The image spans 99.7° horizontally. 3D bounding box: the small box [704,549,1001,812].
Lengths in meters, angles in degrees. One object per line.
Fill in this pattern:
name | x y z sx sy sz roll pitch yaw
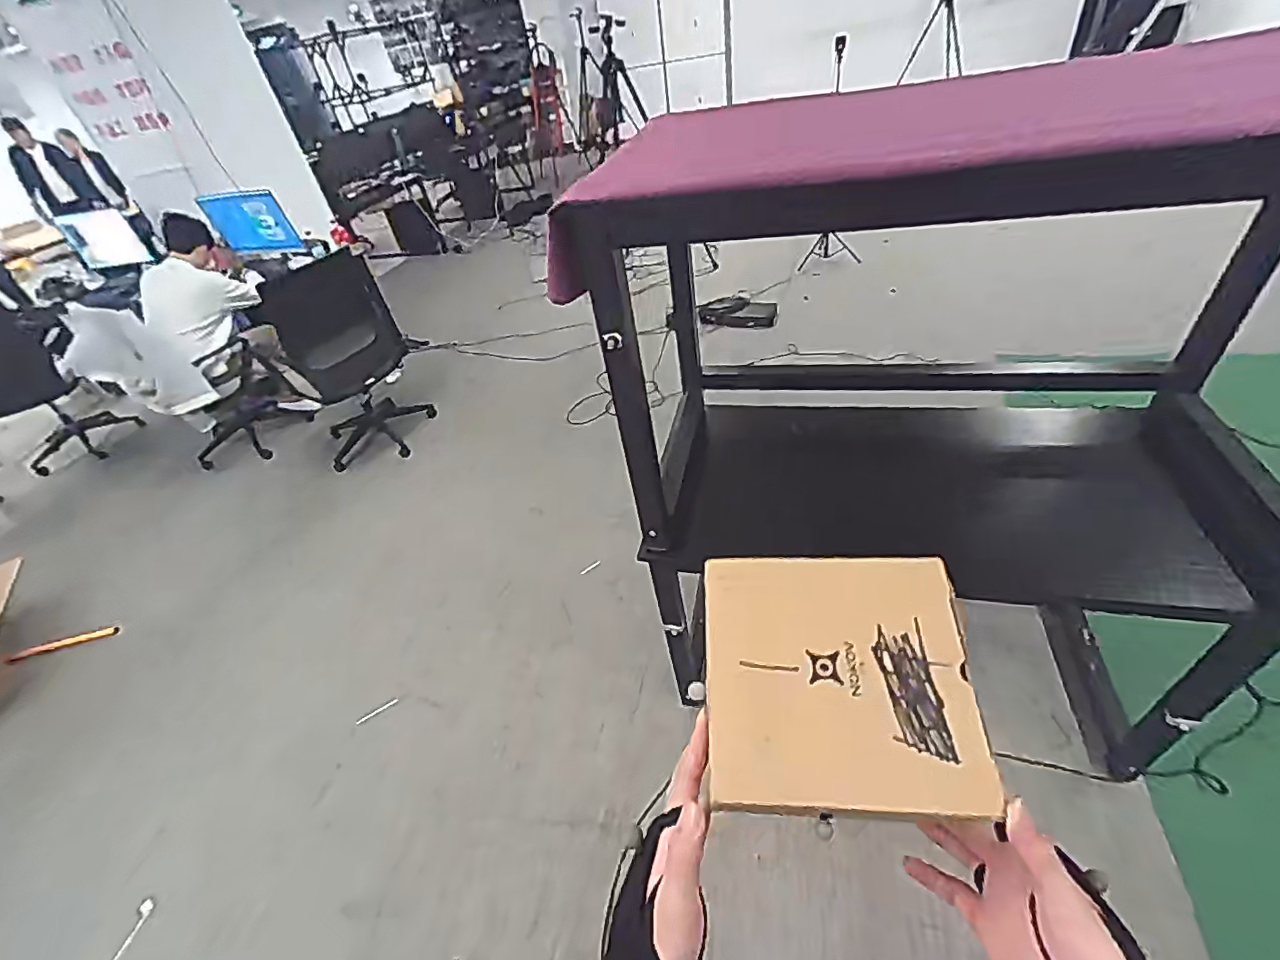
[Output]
small box | 0.141 0.165 0.435 0.179 0.176 0.168 -1 58 7
